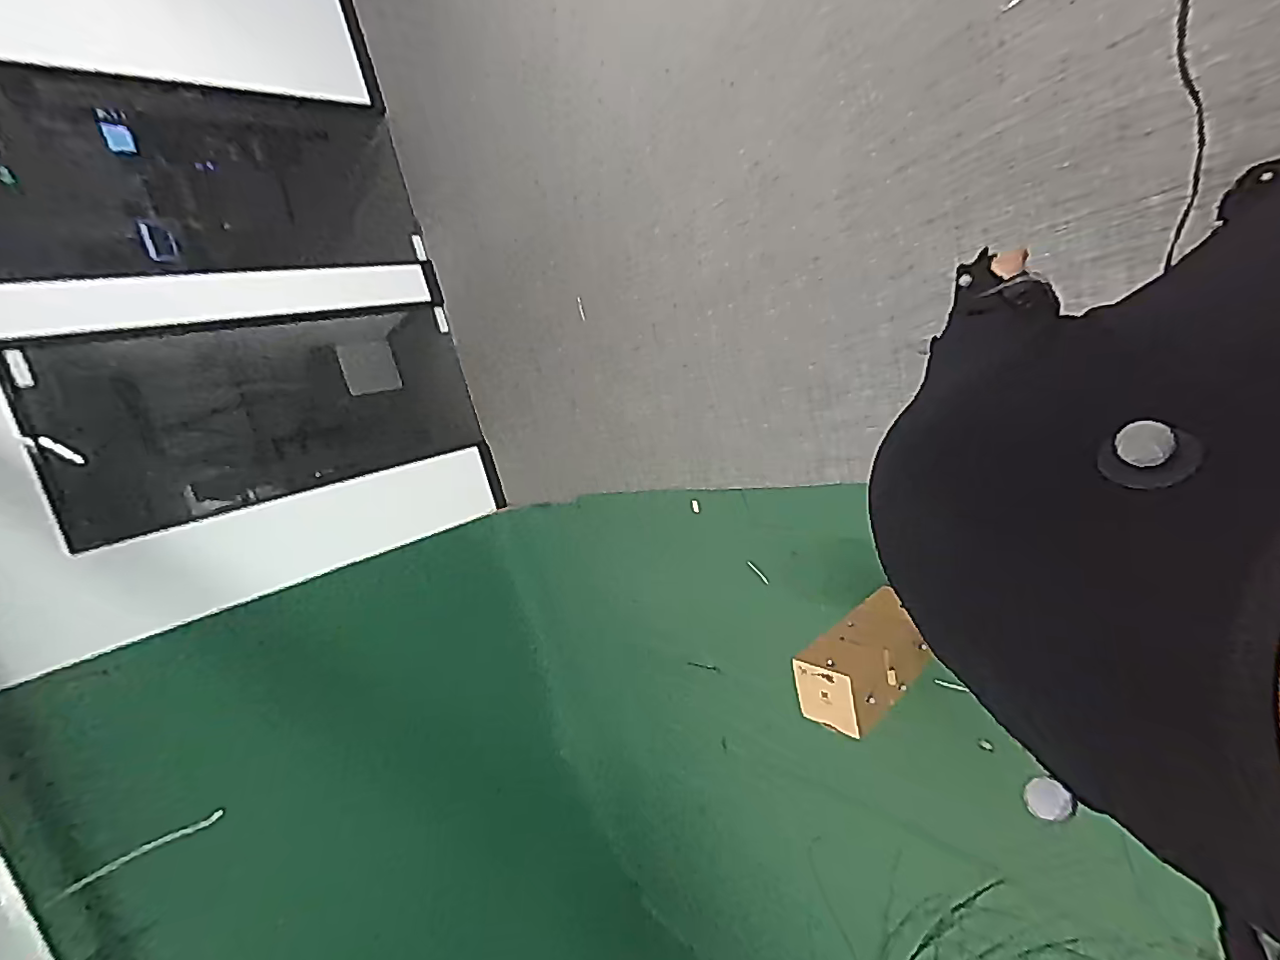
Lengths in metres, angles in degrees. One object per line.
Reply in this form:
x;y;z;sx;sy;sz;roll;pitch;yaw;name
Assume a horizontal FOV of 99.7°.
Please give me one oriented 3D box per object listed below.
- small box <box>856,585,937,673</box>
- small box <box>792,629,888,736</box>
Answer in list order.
0.766;0.434;1.613;0.168;0.176;0.179;7;112;49;small box
0.524;0.517;1.406;0.168;0.176;0.179;2;109;52;small box
